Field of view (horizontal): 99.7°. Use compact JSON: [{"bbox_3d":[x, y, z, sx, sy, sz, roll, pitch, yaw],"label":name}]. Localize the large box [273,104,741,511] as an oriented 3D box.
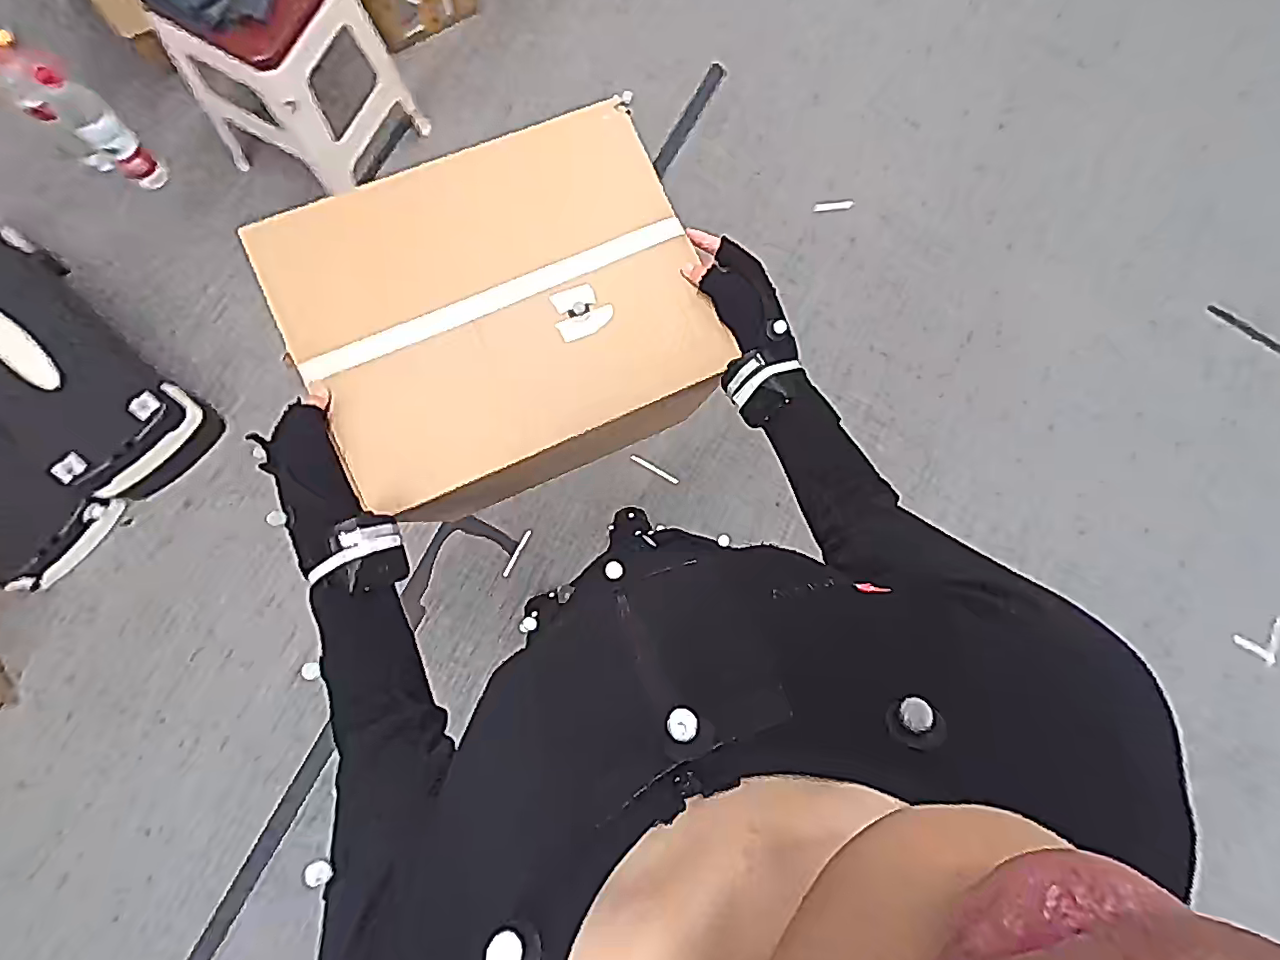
[{"bbox_3d":[-0.146,-0.181,0.705,0.408,0.320,0.320,-23,89,-8],"label":"large box"}]
